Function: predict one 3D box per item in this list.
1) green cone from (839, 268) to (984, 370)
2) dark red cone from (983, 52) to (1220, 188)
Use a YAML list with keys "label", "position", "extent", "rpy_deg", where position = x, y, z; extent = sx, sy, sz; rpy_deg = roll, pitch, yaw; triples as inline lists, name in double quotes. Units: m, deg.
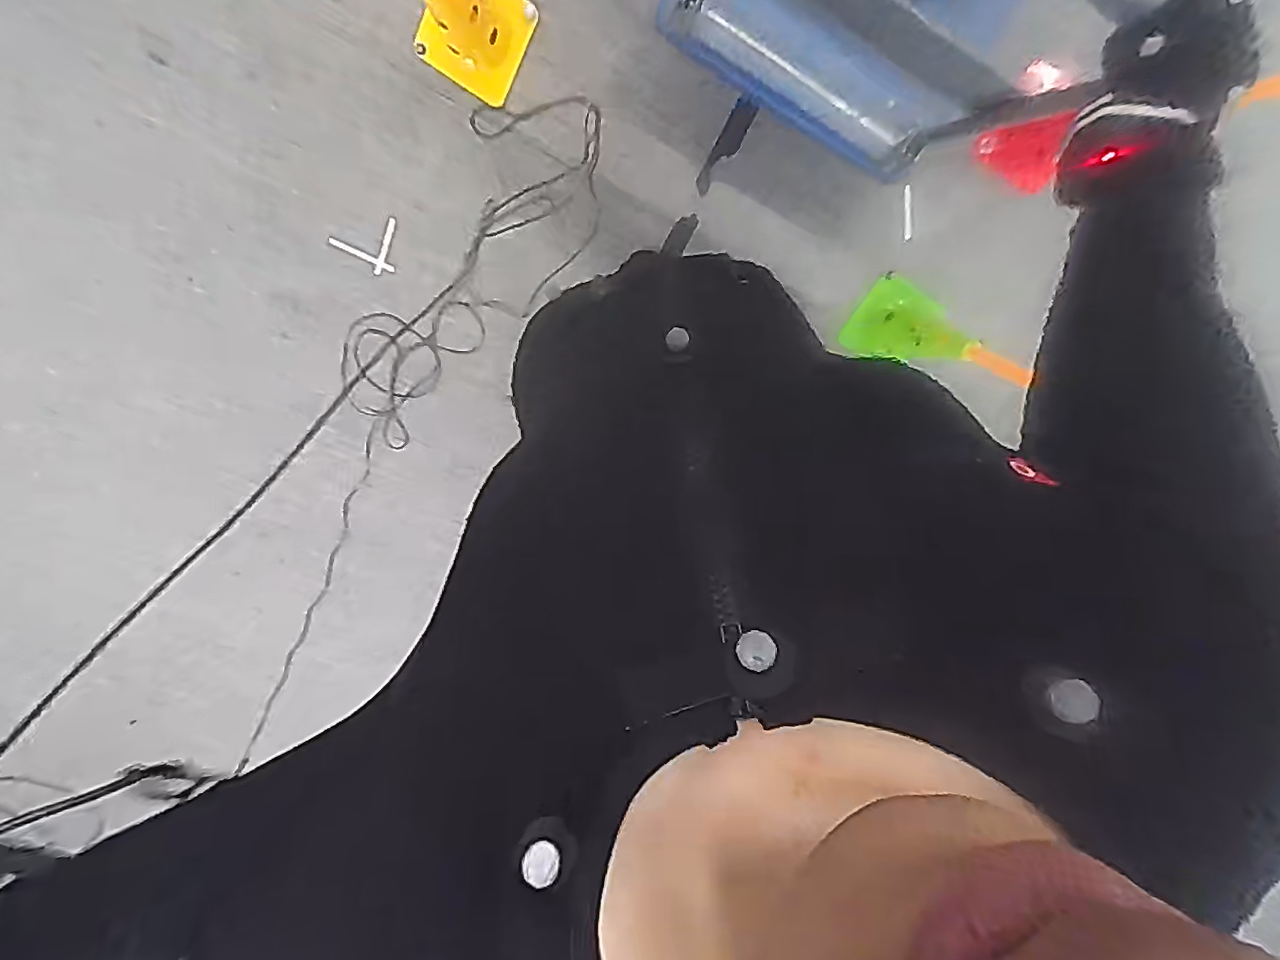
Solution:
- label: "green cone"
  position: [0.638, -0.329, 1.213]
  extent: [0.202, 0.368, 0.200]
  rpy_deg: [28, 111, -15]
- label: "dark red cone"
  position: [0.881, -0.705, 1.026]
  extent: [0.201, 0.394, 0.202]
  rpy_deg: [24, 112, -14]
